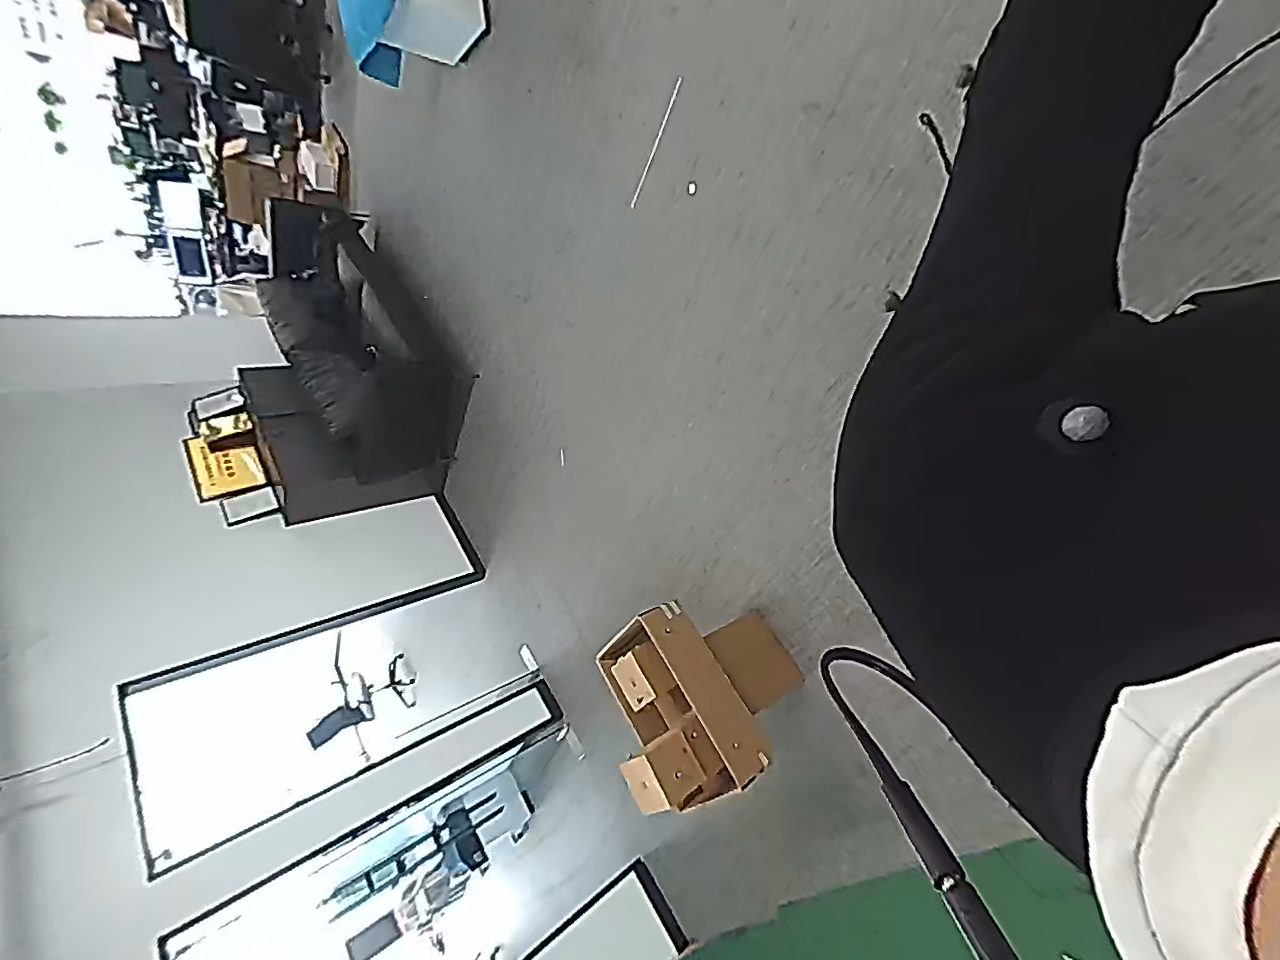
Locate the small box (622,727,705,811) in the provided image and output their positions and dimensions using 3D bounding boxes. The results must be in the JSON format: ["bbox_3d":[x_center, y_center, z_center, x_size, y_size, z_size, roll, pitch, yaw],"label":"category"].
[{"bbox_3d":[0.081,0.913,1.718,0.168,0.176,0.179,59,137,19],"label":"small box"}]
